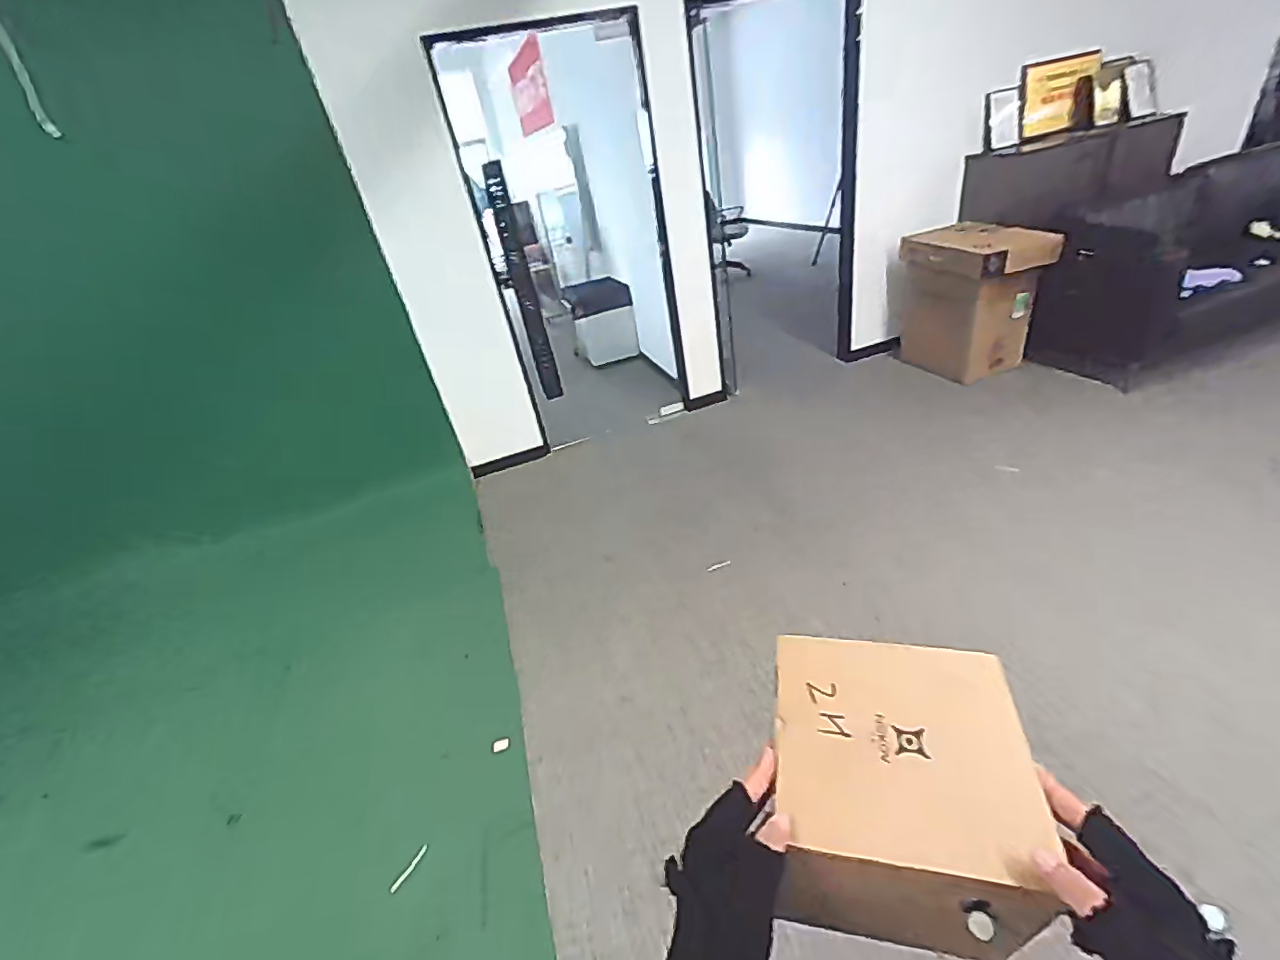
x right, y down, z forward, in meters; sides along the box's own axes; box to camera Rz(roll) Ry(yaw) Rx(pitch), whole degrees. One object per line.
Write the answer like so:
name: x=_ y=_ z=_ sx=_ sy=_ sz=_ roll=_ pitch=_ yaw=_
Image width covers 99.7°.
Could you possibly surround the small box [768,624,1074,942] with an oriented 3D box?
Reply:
small box: x=0.199 y=0.243 z=0.443 sx=0.179 sy=0.176 sz=0.168 roll=1 pitch=39 yaw=15
